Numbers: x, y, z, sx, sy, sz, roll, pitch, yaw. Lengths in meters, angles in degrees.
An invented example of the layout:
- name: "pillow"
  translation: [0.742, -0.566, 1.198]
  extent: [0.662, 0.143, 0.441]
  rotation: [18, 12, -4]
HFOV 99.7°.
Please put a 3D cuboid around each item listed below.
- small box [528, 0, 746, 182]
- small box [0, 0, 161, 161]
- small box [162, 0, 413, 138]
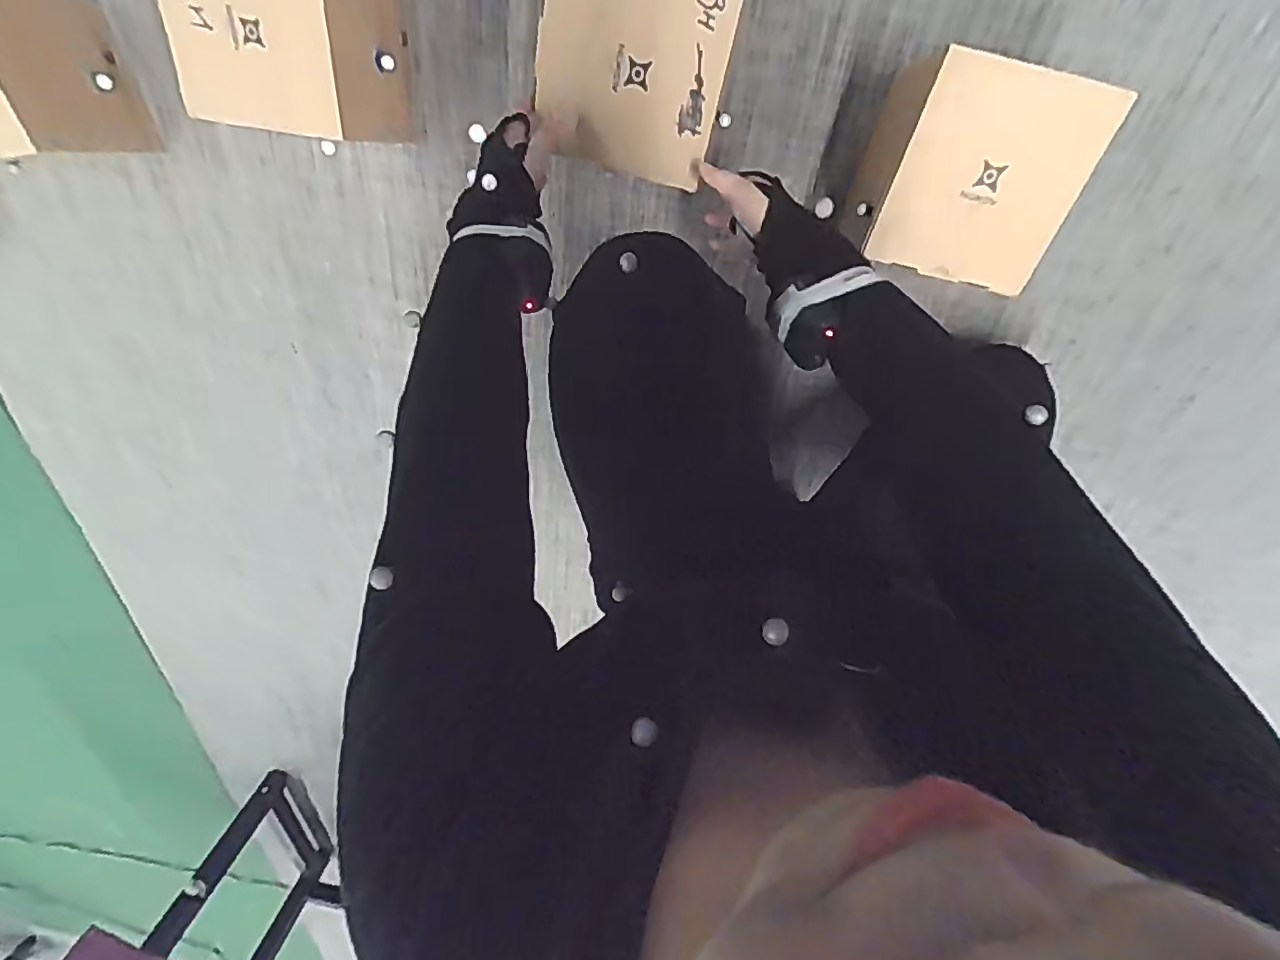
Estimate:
- name: "small box"
  translation: [0.002, -0.424, 0.562]
  extent: [0.179, 0.176, 0.168]
  rotation: [16, 123, 1]
- name: "small box"
  translation: [-0.759, -0.489, 0.658]
  extent: [0.179, 0.176, 0.168]
  rotation: [0, 121, 9]
- name: "small box"
  translation: [-0.367, -0.483, 0.591]
  extent: [0.179, 0.176, 0.168]
  rotation: [11, 122, 3]
